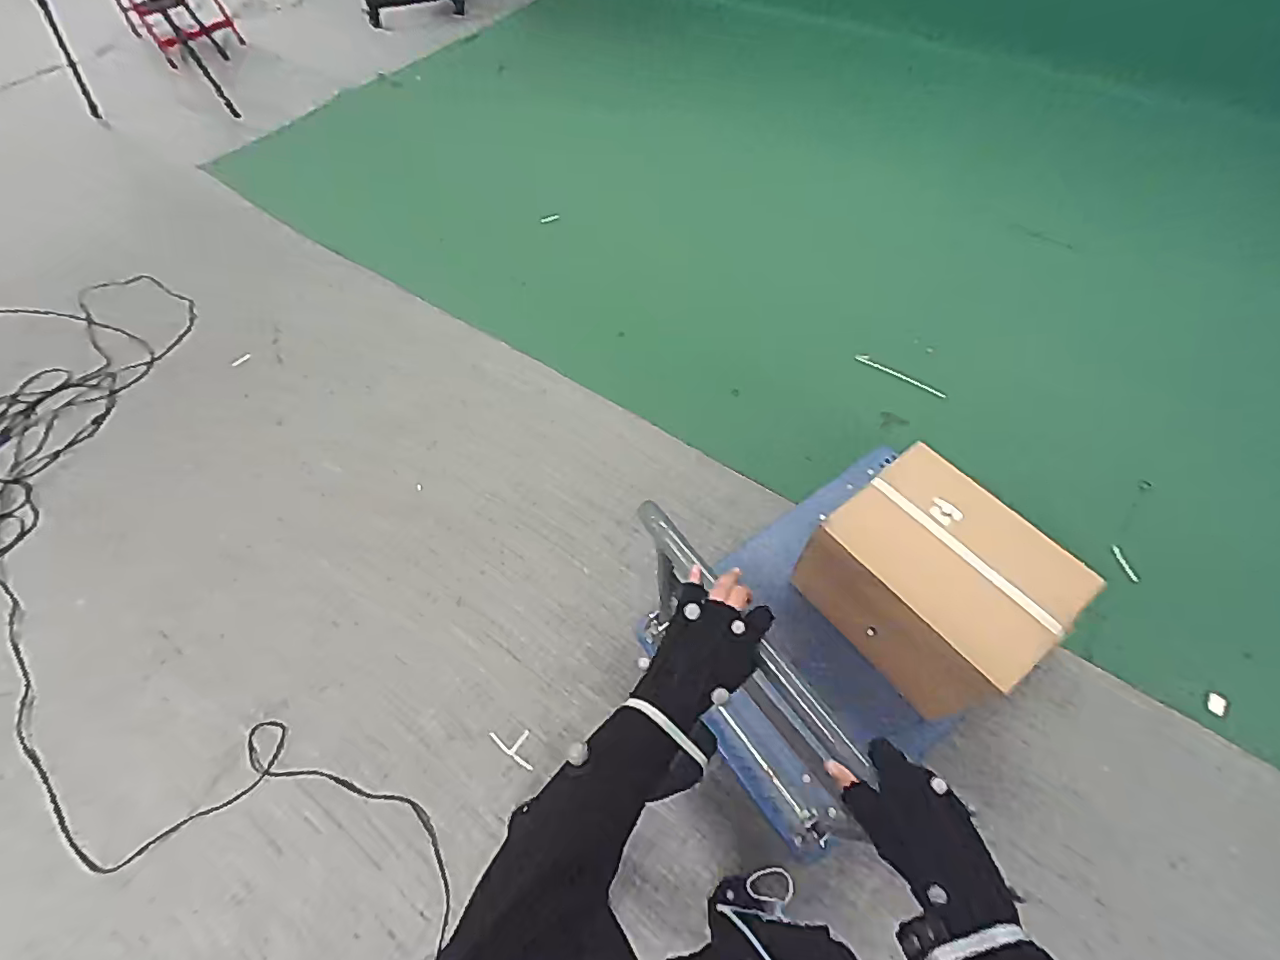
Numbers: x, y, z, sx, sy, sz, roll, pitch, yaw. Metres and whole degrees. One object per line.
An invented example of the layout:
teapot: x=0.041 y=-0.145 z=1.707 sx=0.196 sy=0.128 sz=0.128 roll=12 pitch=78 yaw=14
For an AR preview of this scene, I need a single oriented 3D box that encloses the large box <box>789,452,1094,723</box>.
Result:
large box: x=0.586 y=0.226 z=1.136 sx=0.320 sy=0.320 sz=0.408 roll=-34 pitch=62 yaw=-18
